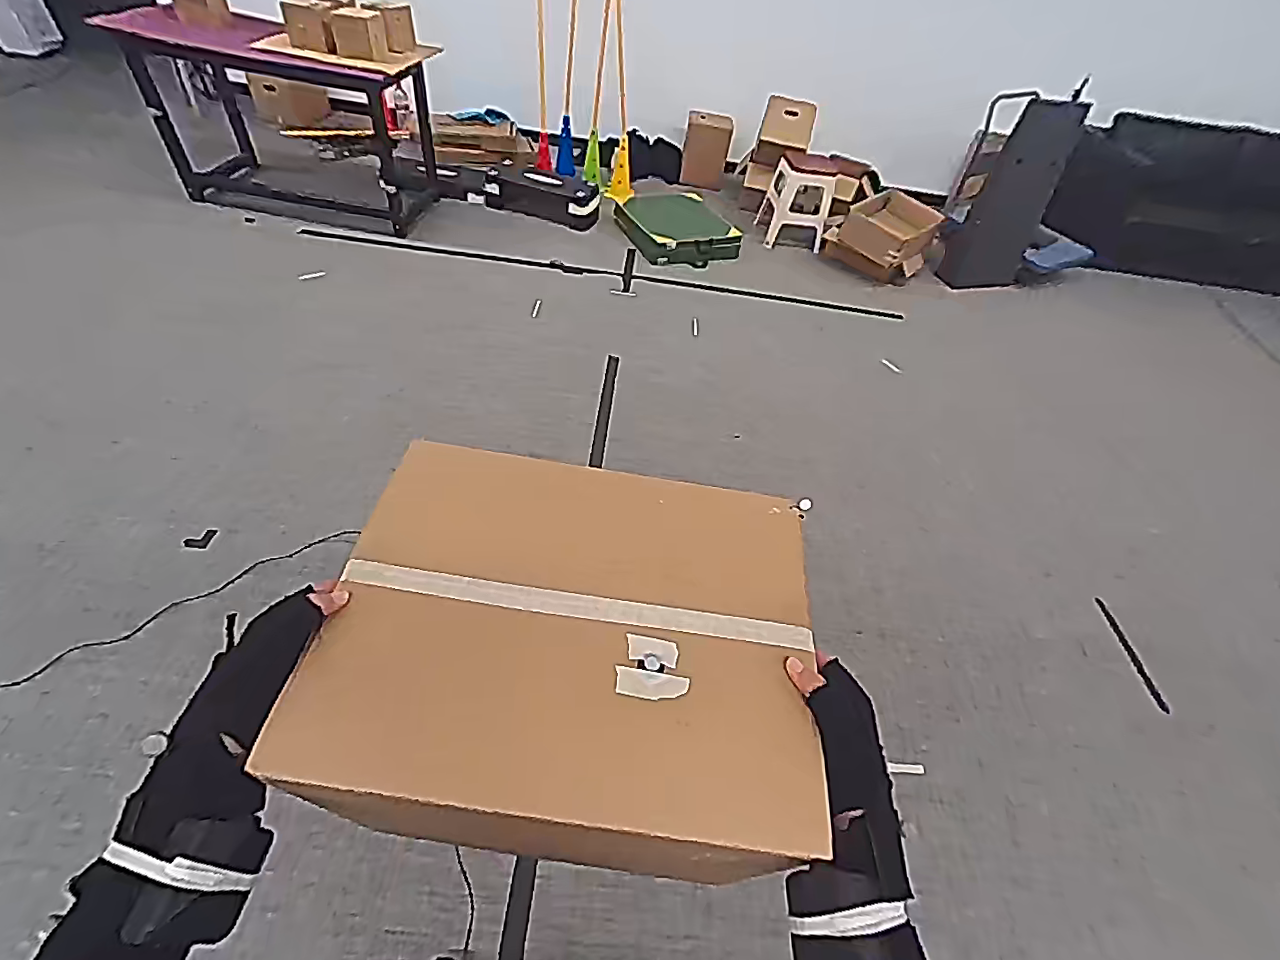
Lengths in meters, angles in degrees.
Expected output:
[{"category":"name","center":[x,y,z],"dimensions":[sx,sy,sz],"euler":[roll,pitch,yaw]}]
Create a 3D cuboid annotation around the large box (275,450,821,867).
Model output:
[{"category":"large box","center":[-0.068,0.205,0.593],"dimensions":[0.408,0.320,0.320],"euler":[9,52,-1]}]
